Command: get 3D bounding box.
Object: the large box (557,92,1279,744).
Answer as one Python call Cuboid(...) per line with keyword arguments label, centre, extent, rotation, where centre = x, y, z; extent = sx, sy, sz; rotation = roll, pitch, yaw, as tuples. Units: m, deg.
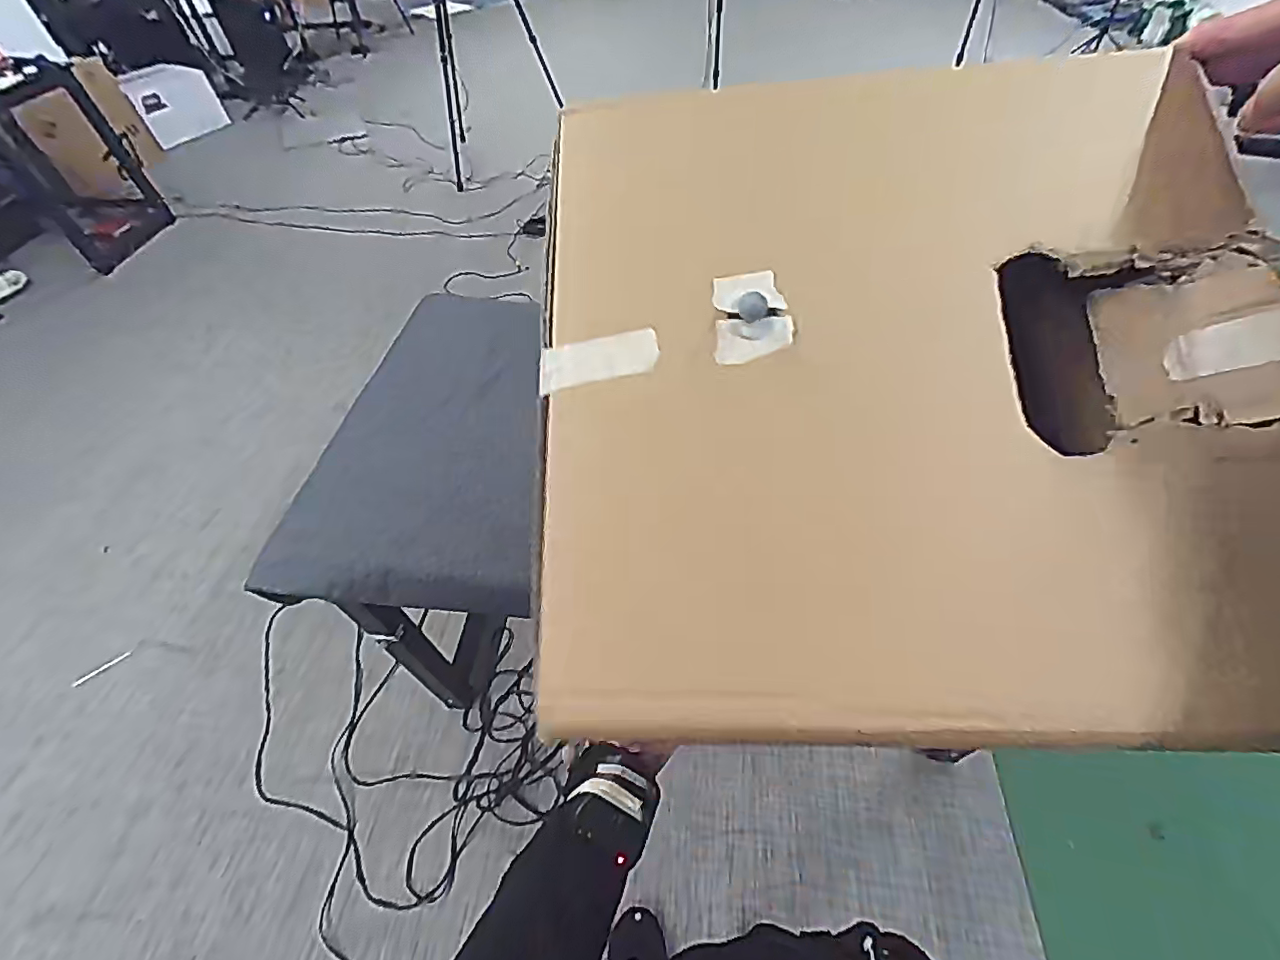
Cuboid(label="large box", centre=(0.123, -0.001, 0.435), extent=(0.320, 0.408, 0.320), rotation=(-2, 75, 3))
